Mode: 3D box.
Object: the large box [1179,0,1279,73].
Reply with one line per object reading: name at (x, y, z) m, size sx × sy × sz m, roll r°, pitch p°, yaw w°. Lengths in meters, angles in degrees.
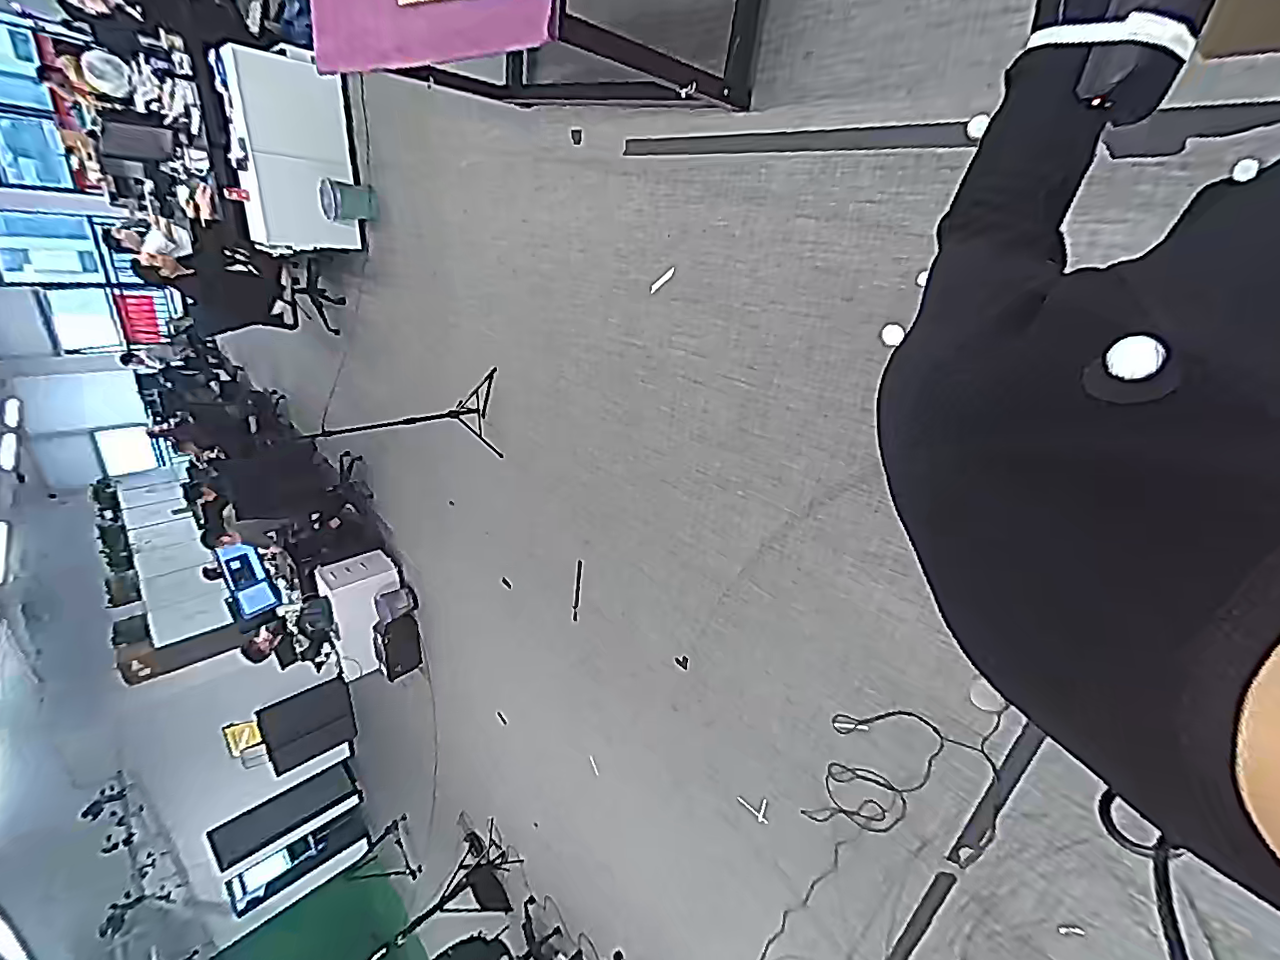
large box at (0.586, -0.437, 0.255) m, size 0.408 × 0.320 × 0.320 m, roll 25°, pitch 125°, yaw 39°
